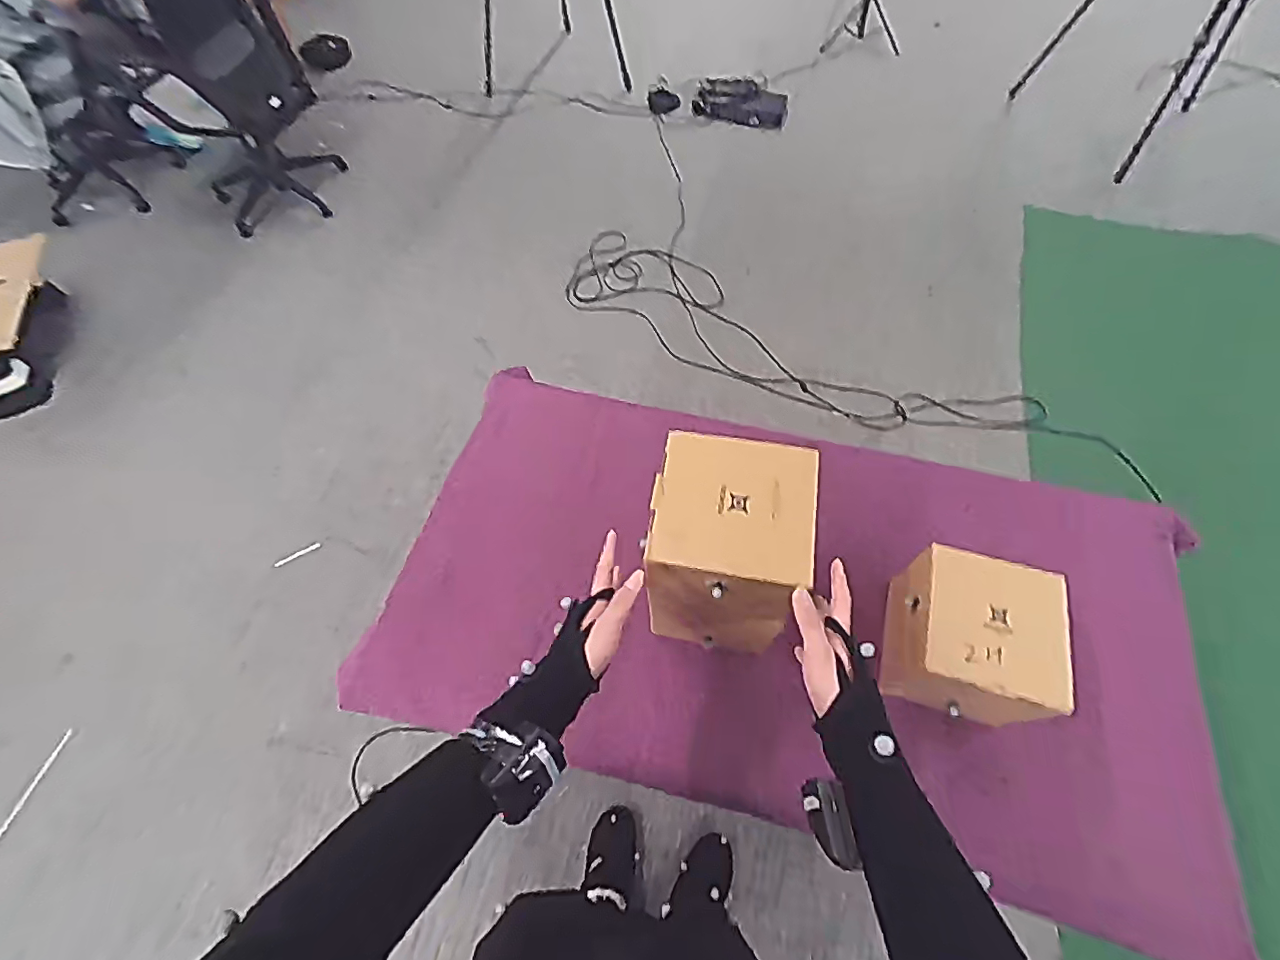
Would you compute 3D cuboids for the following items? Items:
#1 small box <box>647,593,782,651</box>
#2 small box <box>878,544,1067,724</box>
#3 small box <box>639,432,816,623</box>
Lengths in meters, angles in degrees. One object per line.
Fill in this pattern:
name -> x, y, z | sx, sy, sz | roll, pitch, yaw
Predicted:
small box -> 0.113, 0.145, 0.803 | 0.179, 0.176, 0.168 | 10, 61, 8
small box -> 0.446, 0.217, 0.748 | 0.168, 0.176, 0.179 | 15, 63, 11
small box -> 0.104, 0.064, 0.661 | 0.179, 0.176, 0.168 | 9, 62, 8
